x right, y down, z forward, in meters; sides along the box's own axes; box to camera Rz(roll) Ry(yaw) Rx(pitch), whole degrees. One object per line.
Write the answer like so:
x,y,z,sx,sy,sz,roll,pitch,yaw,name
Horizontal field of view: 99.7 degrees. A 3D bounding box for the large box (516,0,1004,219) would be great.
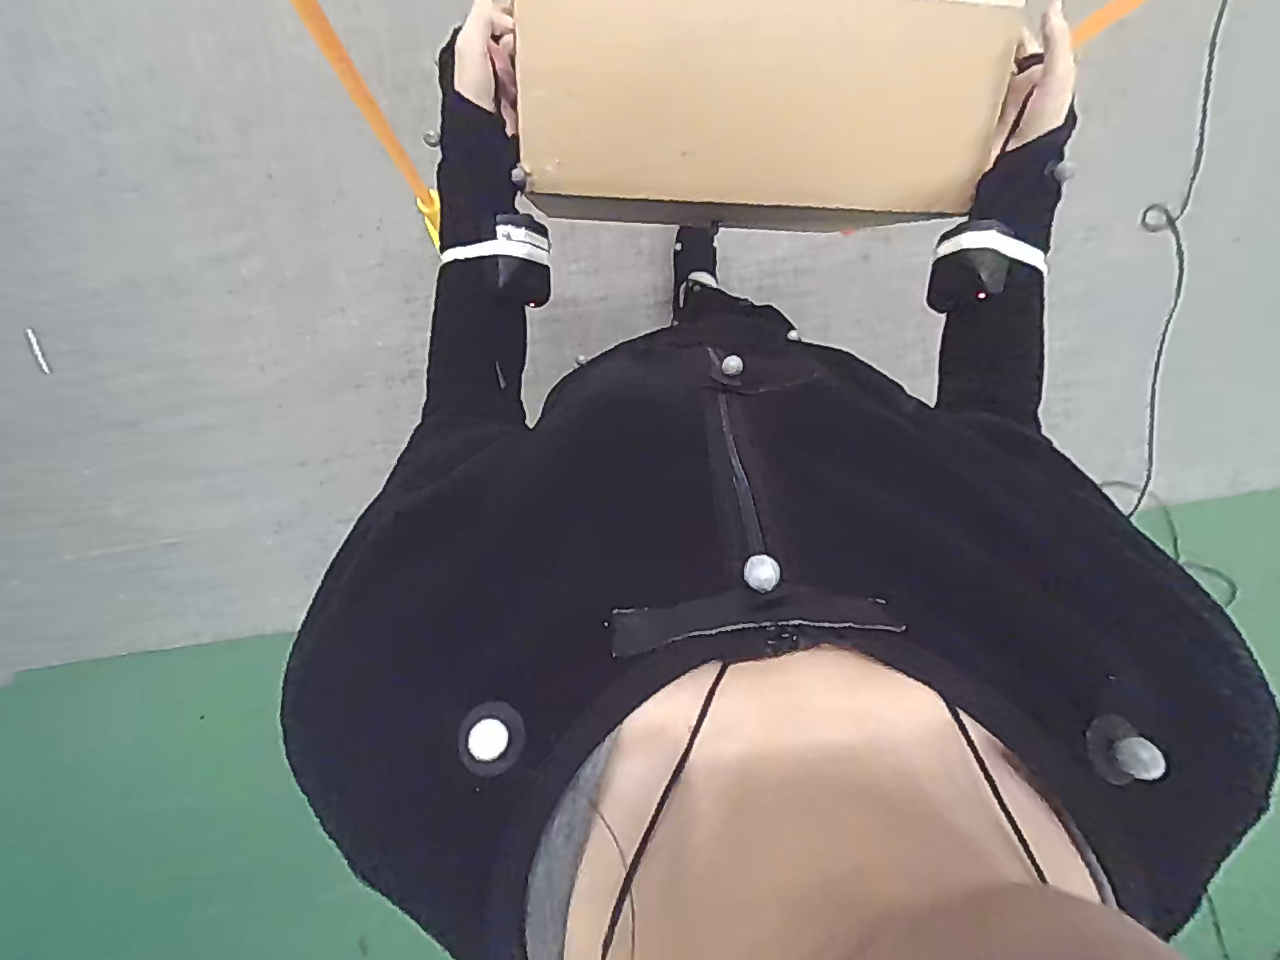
0.091,-0.450,0.561,0.408,0.320,0.320,-1,111,-4,large box
